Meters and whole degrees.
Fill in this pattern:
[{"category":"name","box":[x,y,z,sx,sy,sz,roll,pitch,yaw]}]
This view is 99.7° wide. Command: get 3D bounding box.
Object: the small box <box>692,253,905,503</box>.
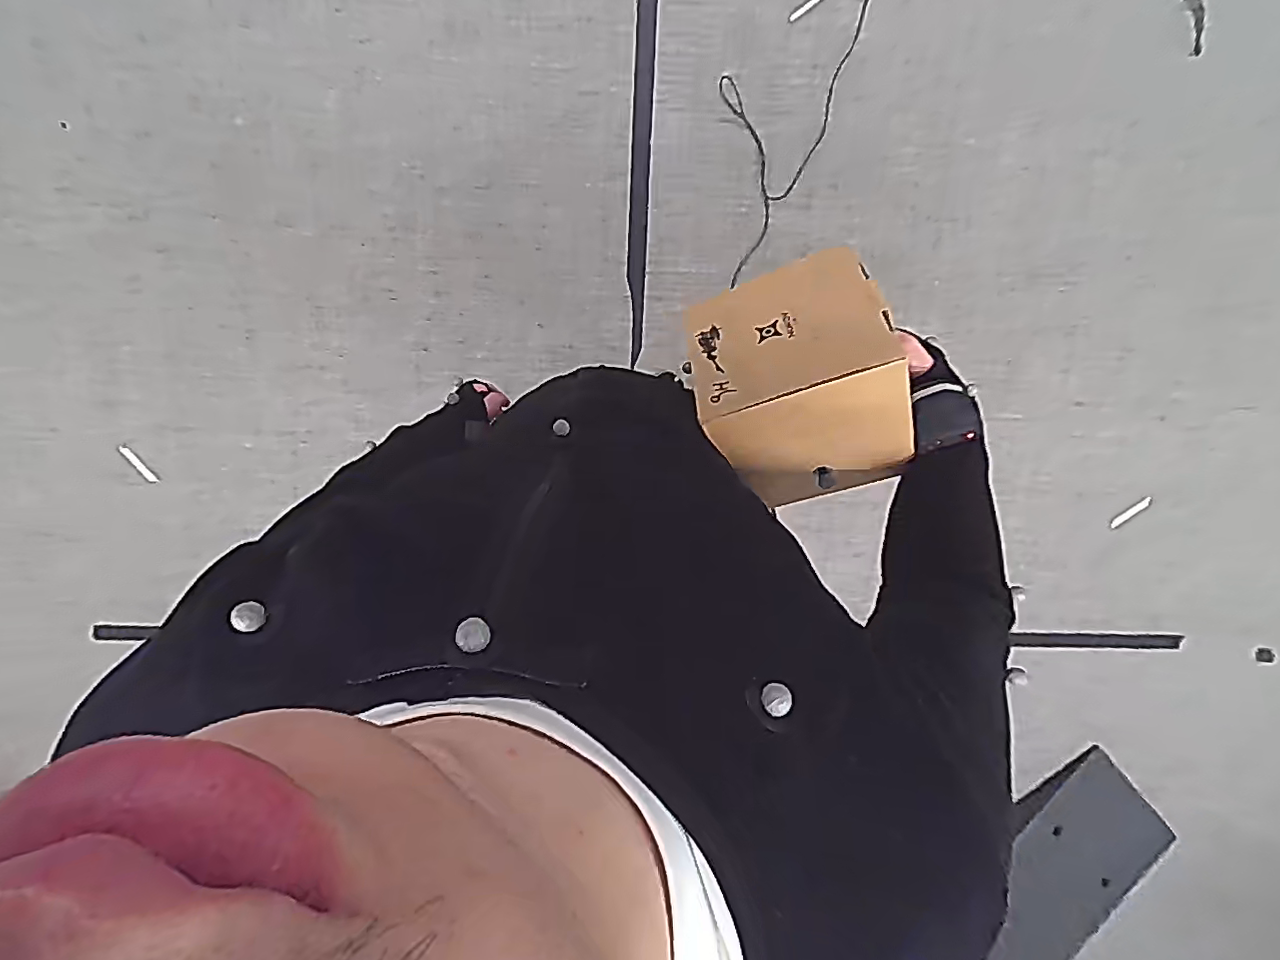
[{"category":"small box","box":[0.168,-0.098,0.578,0.179,0.168,0.176,-16,140,18]}]
